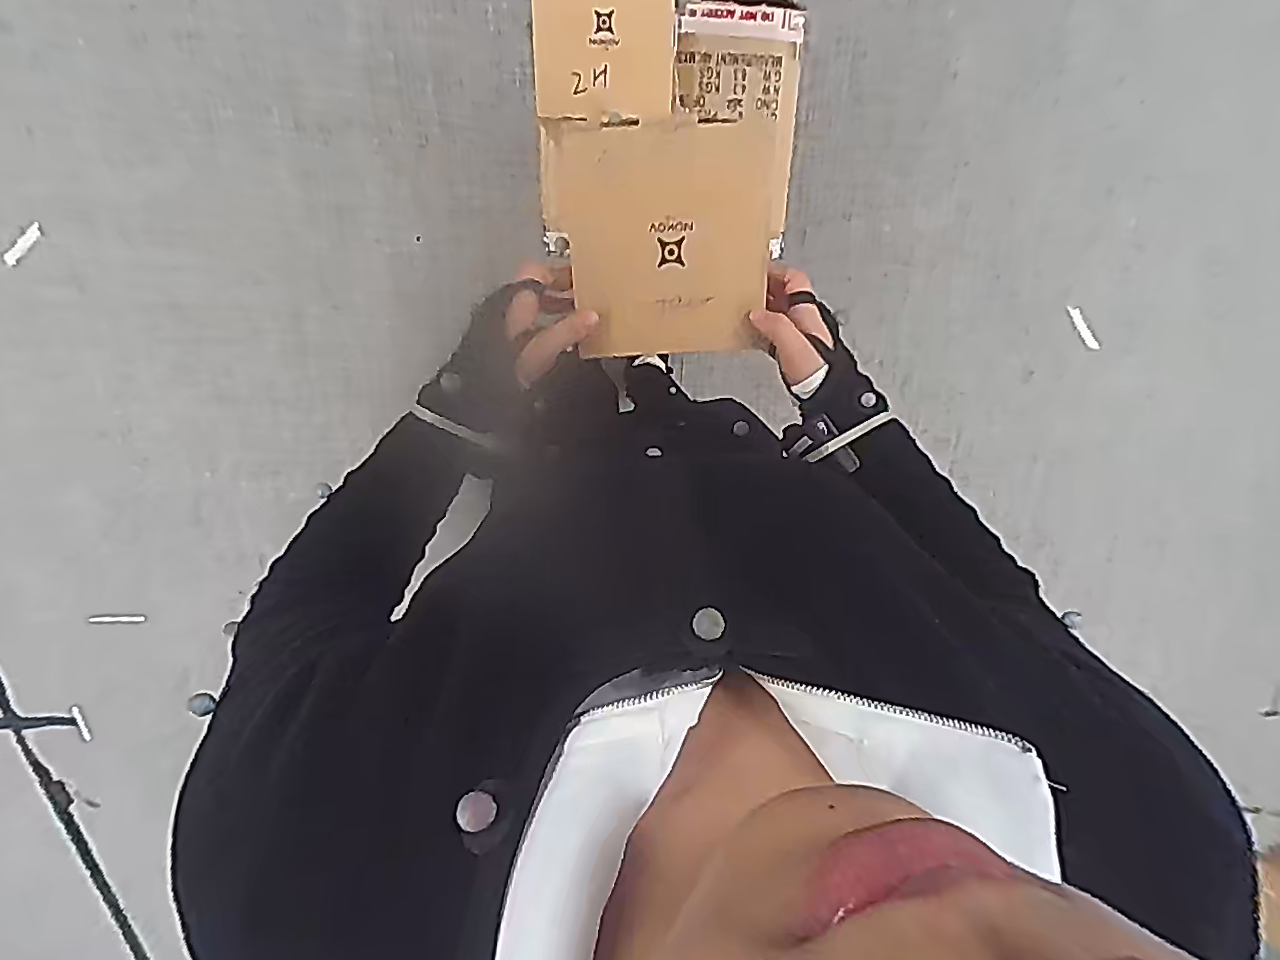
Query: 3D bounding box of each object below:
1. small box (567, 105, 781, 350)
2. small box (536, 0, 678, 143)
[{"bbox_3d":[0.021,-0.230,0.506,0.168,0.176,0.179,-4,117,-3],"label":"small box"},{"bbox_3d":[-0.042,-0.550,0.699,0.168,0.176,0.179,0,114,-2],"label":"small box"}]
